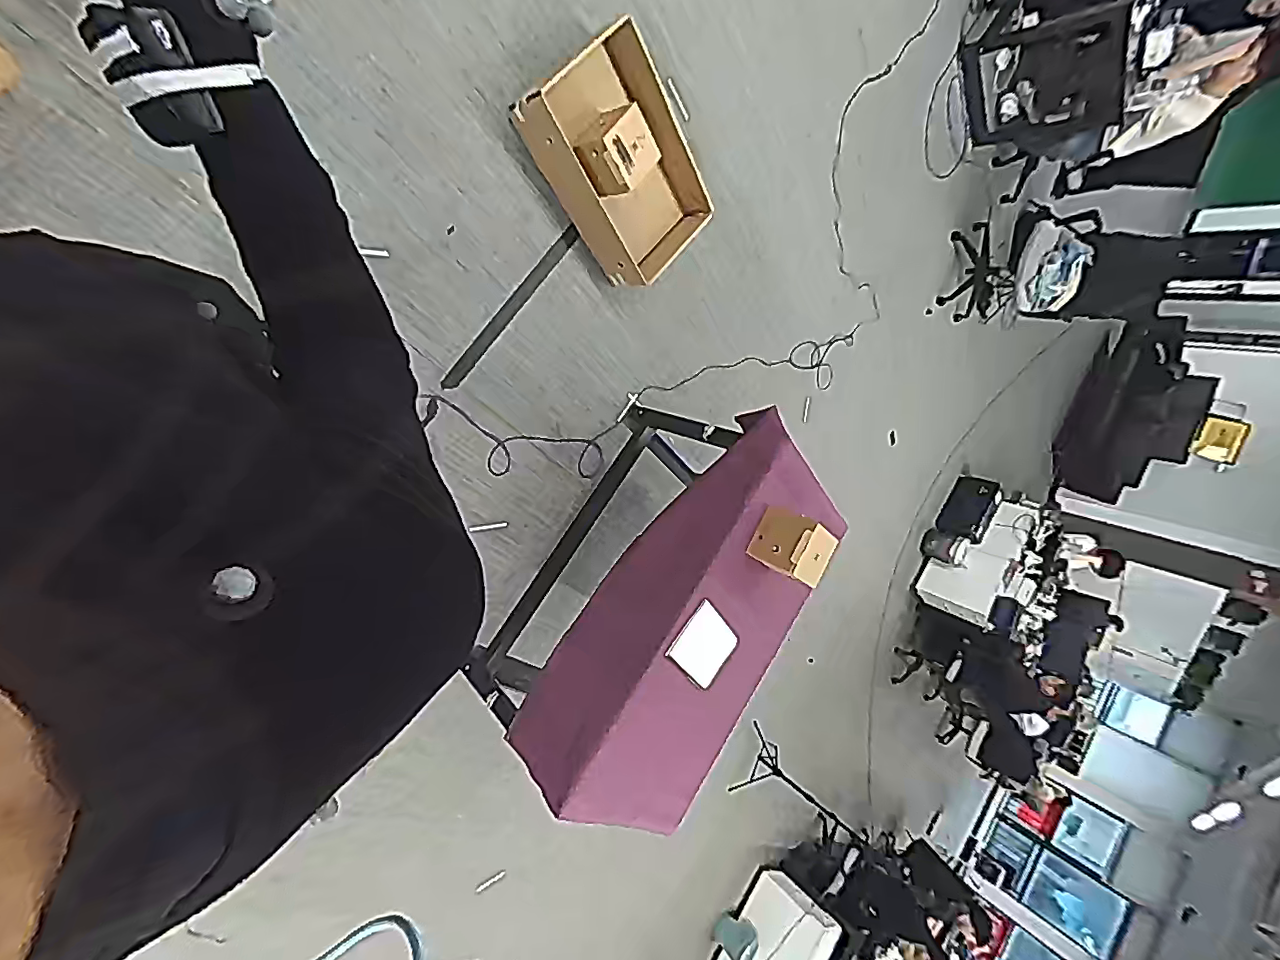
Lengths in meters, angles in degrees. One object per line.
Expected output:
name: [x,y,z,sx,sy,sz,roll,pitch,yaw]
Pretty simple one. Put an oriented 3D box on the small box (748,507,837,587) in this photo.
small box: [0.452,0.195,1.618,0.179,0.176,0.168,33,84,-44]
